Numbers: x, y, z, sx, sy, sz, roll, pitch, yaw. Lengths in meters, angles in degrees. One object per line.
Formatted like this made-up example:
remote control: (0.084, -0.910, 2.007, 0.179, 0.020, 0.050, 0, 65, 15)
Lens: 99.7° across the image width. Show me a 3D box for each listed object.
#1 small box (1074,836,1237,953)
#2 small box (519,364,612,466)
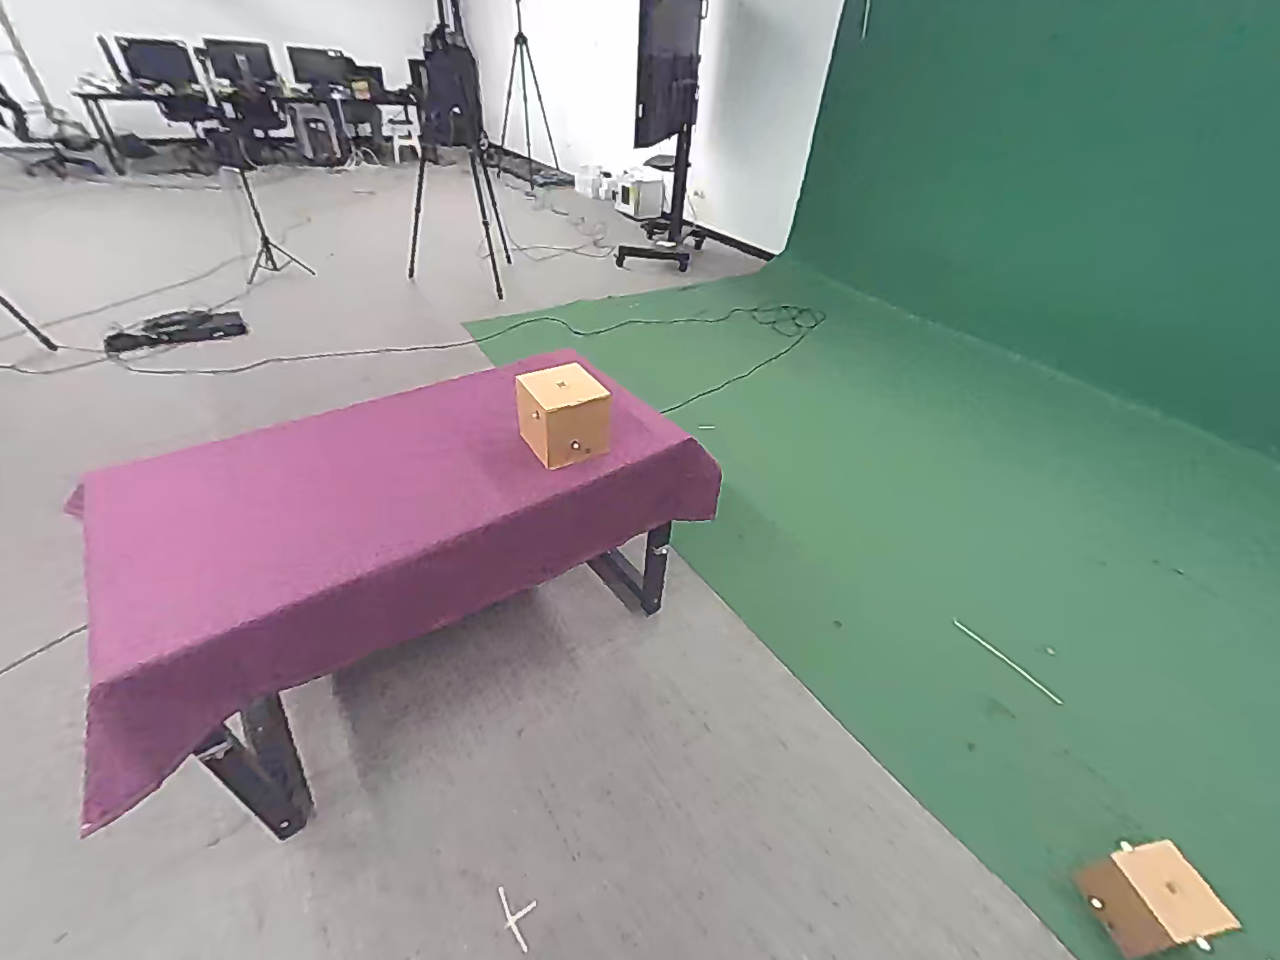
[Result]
small box: (1.165, 0.949, 1.240, 0.179, 0.176, 0.168, -4, 39, -11)
small box: (-0.184, -0.160, 1.318, 0.168, 0.176, 0.179, -20, 45, -27)
